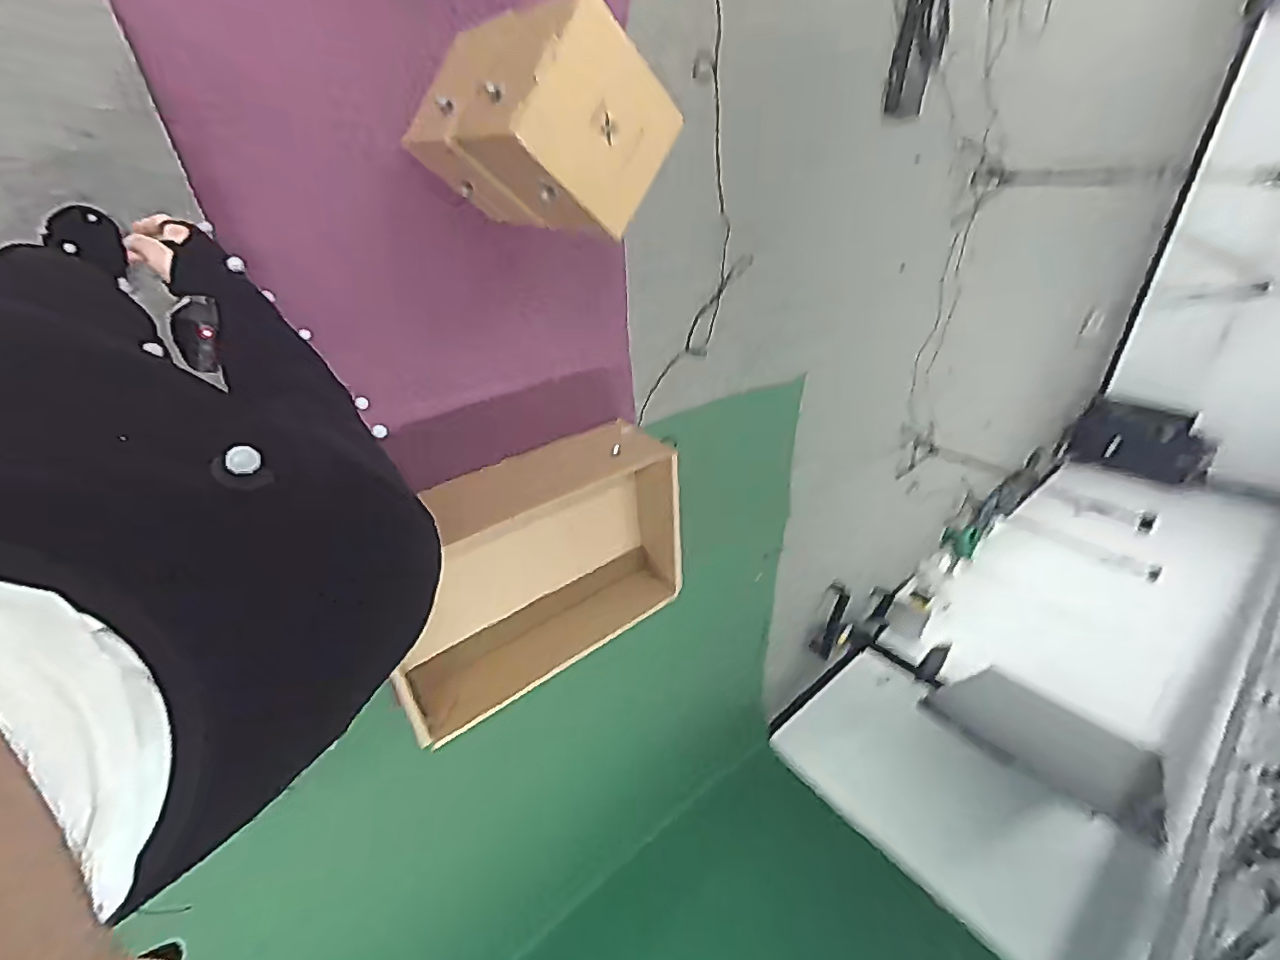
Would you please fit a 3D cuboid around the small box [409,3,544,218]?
[{"bbox_3d":[-0.196,-0.501,0.758,0.168,0.176,0.179,27,94,-48],"label":"small box"}]

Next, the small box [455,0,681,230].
[{"bbox_3d":[-0.090,-0.433,0.654,0.179,0.176,0.168,27,95,-48],"label":"small box"}]
